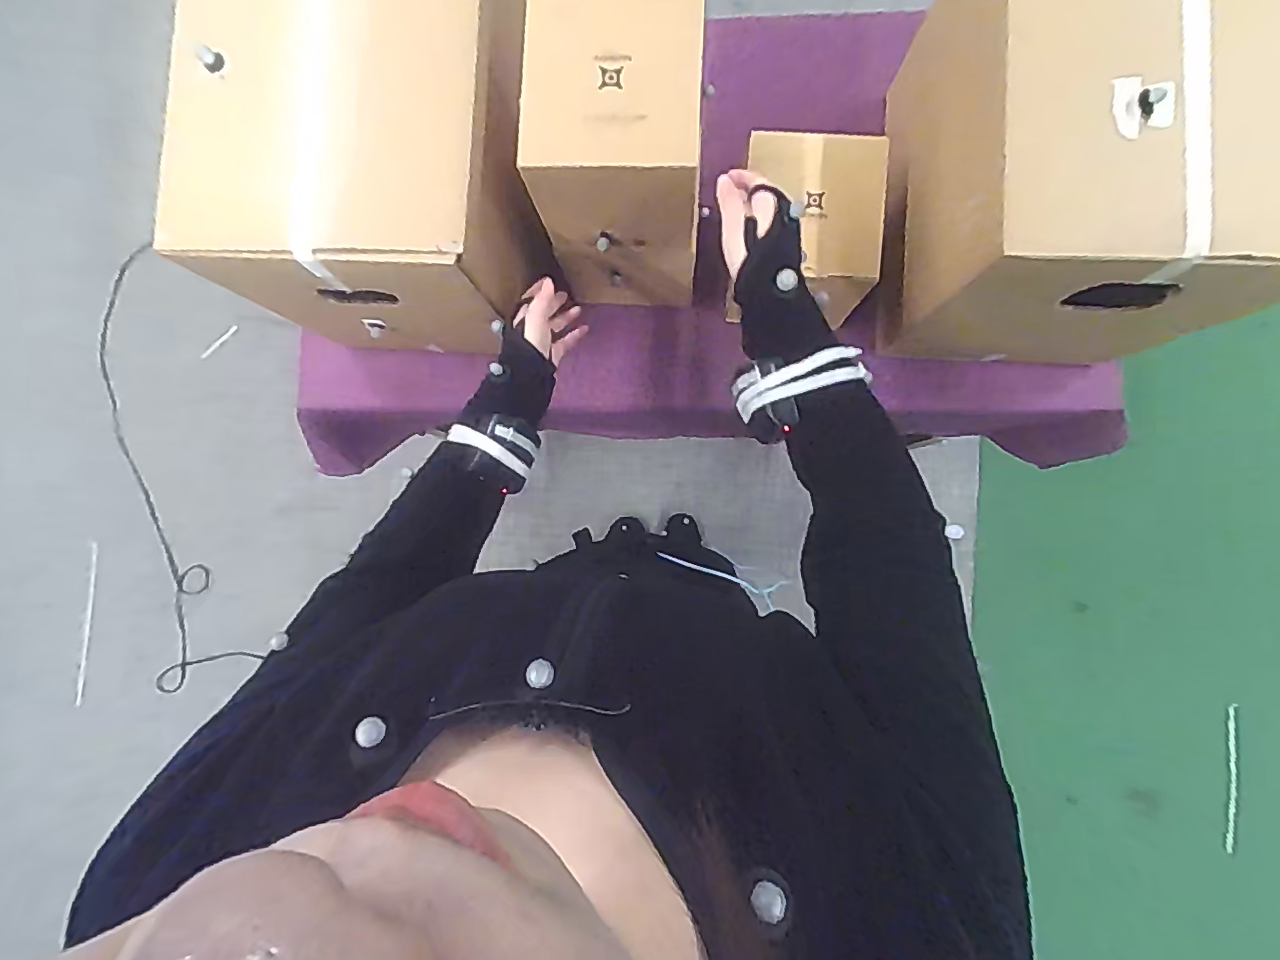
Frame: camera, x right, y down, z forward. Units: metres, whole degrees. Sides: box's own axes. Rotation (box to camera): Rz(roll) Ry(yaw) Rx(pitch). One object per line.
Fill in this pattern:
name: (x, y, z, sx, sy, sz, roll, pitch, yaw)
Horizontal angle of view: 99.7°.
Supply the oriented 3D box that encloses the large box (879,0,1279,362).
large box: (0.503, -0.383, 0.644, 0.320, 0.320, 0.408, 4, 88, 3)
